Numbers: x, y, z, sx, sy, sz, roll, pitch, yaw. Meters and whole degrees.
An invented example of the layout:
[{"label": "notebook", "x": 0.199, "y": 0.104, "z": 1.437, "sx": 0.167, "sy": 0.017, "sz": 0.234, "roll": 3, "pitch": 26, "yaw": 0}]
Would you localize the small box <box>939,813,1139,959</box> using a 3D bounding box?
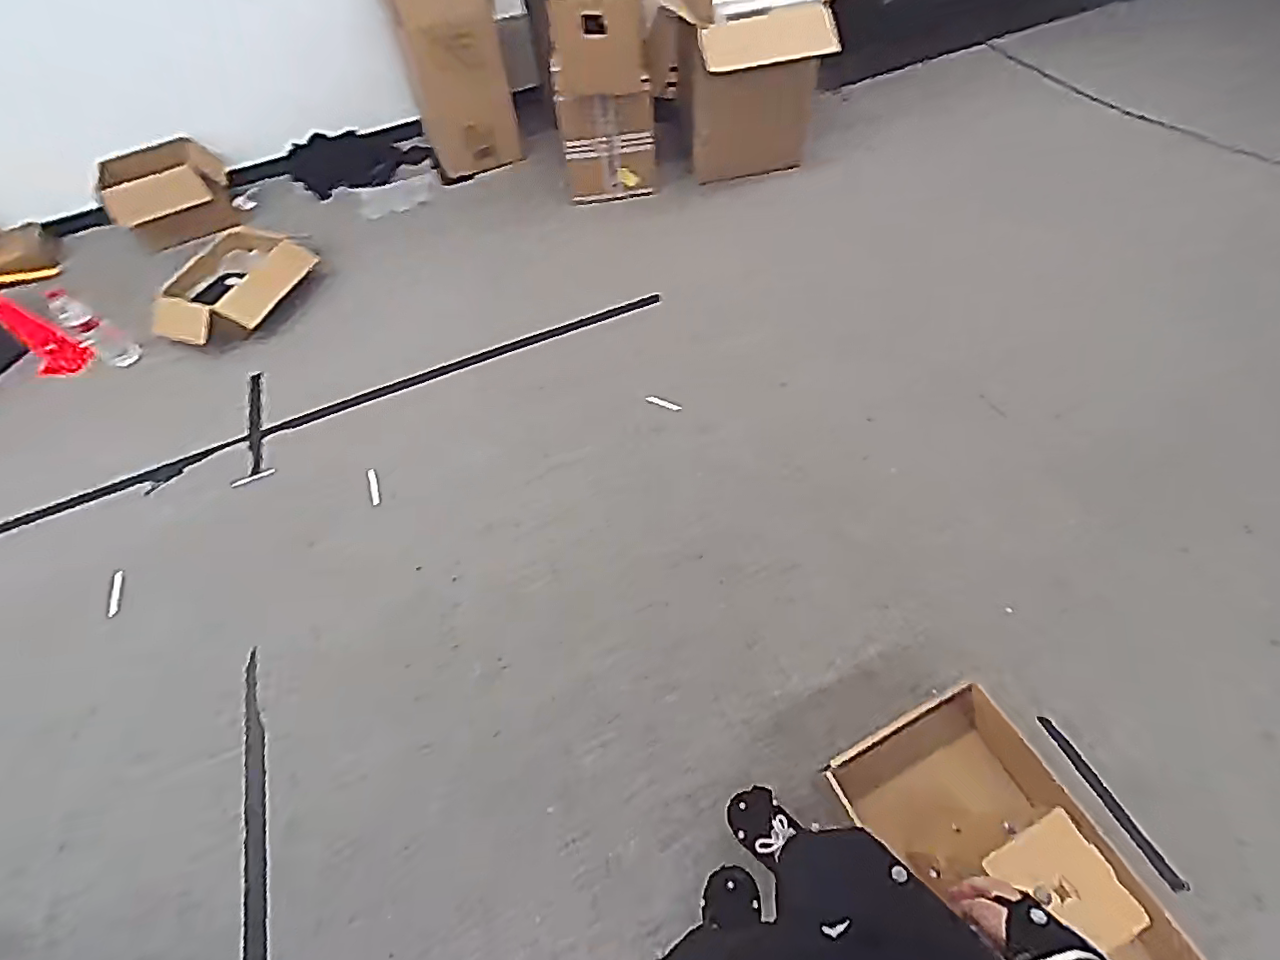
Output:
[{"label": "small box", "x": 0.647, "y": 0.686, "z": 0.905, "sx": 0.179, "sy": 0.176, "sz": 0.168, "roll": -24, "pitch": 58, "yaw": -11}]
